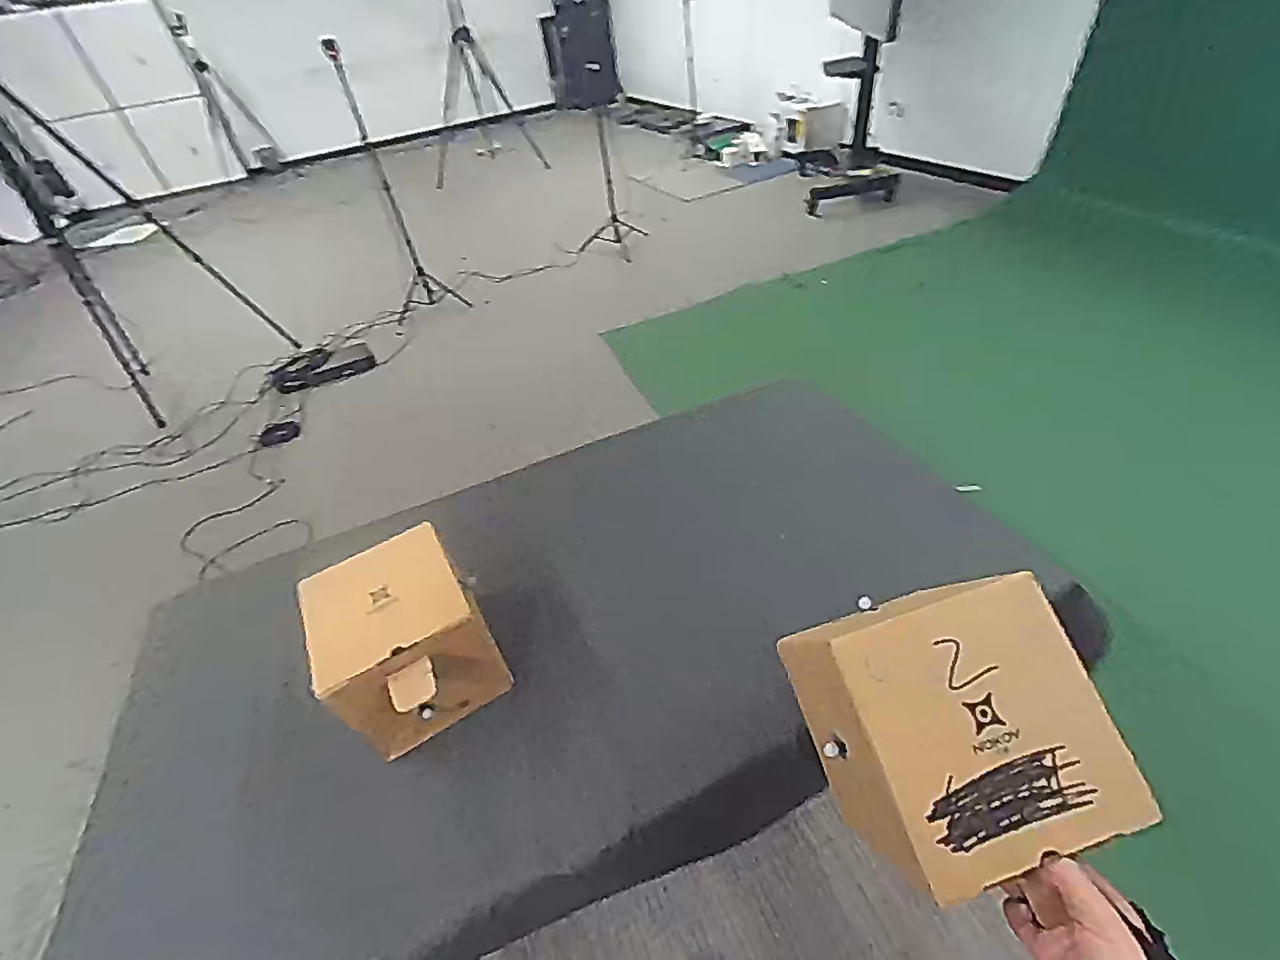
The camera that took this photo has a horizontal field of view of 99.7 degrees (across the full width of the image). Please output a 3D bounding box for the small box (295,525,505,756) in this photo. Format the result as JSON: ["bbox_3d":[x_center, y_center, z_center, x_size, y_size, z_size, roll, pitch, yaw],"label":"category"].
[{"bbox_3d":[-0.288,0.195,0.664,0.168,0.176,0.179,-28,46,-19],"label":"small box"}]
